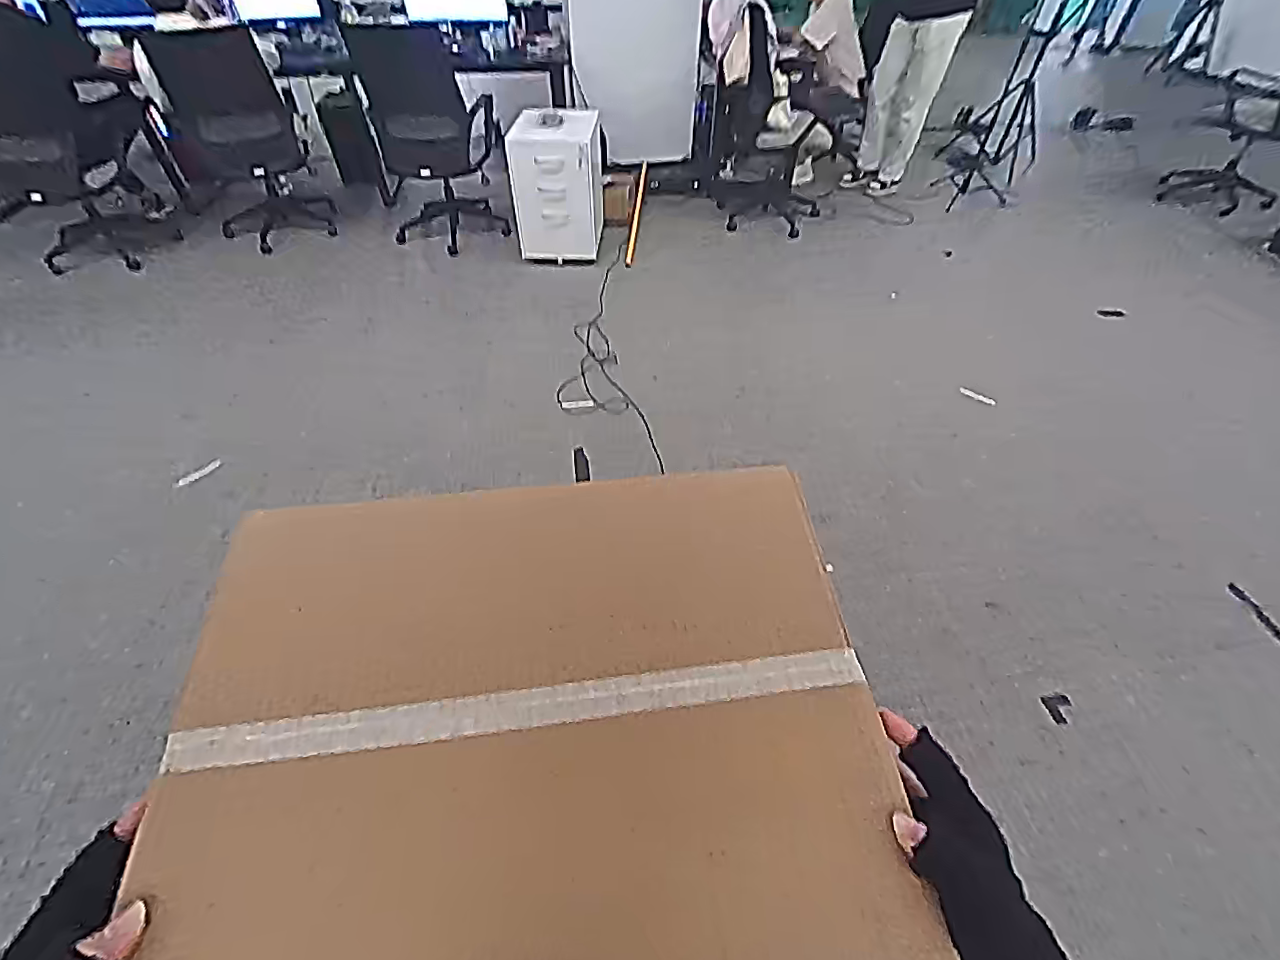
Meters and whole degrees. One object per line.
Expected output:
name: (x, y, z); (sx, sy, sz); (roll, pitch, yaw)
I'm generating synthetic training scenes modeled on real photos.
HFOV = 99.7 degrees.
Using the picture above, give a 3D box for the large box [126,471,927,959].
large box: (-0.070, 0.219, 0.458); (0.408, 0.320, 0.320); (-5, 57, -5)
